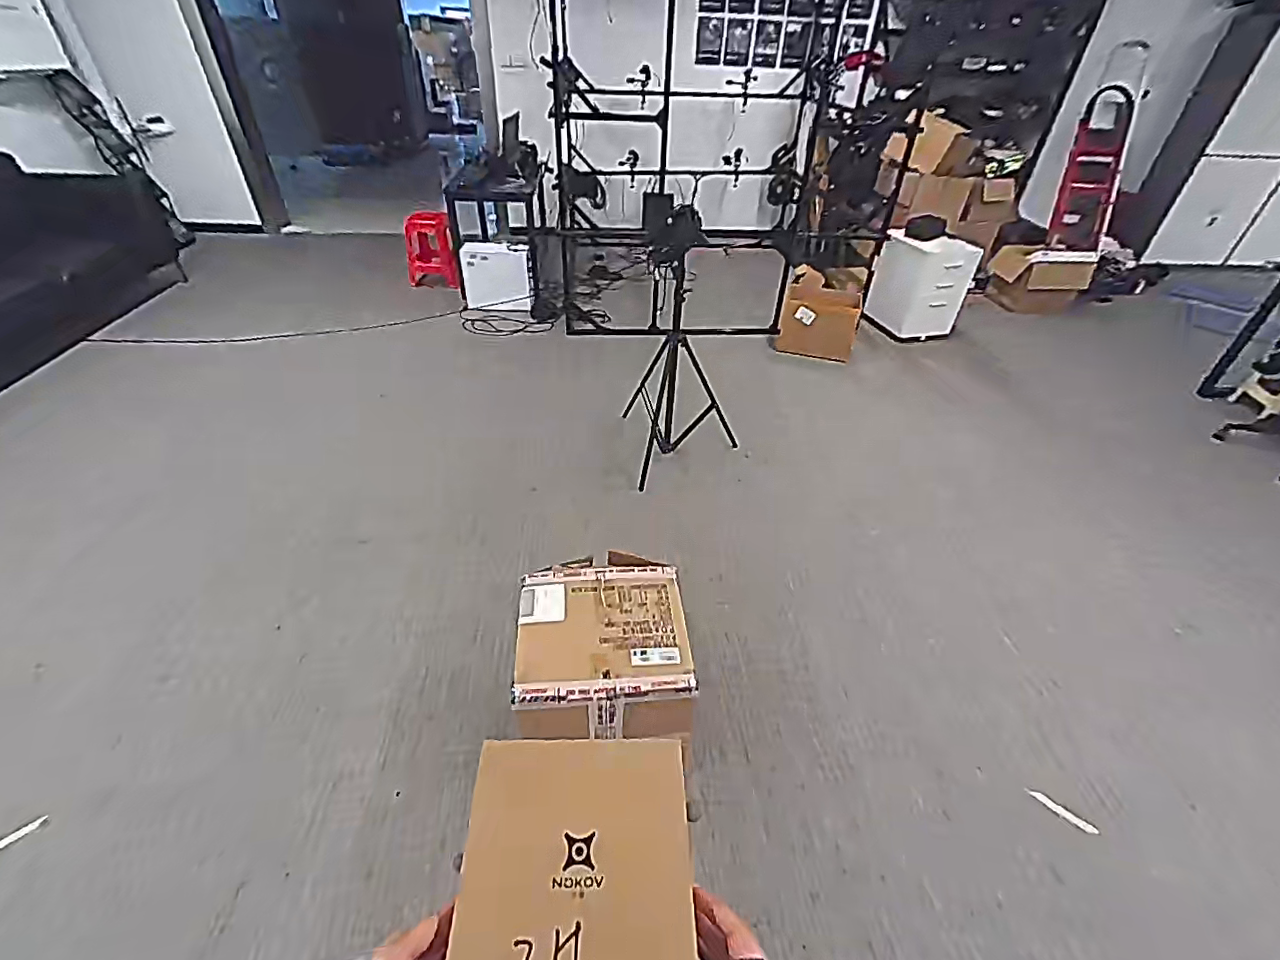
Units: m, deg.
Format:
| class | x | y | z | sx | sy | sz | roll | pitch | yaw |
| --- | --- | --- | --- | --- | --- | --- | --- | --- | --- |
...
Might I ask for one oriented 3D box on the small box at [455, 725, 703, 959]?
| class | x | y | z | sx | sy | sz | roll | pitch | yaw |
| --- | --- | --- | --- | --- | --- | --- | --- | --- | --- |
| small box | -0.045 | 0.329 | 0.457 | 0.168 | 0.176 | 0.179 | 0 | 45 | -3 |
